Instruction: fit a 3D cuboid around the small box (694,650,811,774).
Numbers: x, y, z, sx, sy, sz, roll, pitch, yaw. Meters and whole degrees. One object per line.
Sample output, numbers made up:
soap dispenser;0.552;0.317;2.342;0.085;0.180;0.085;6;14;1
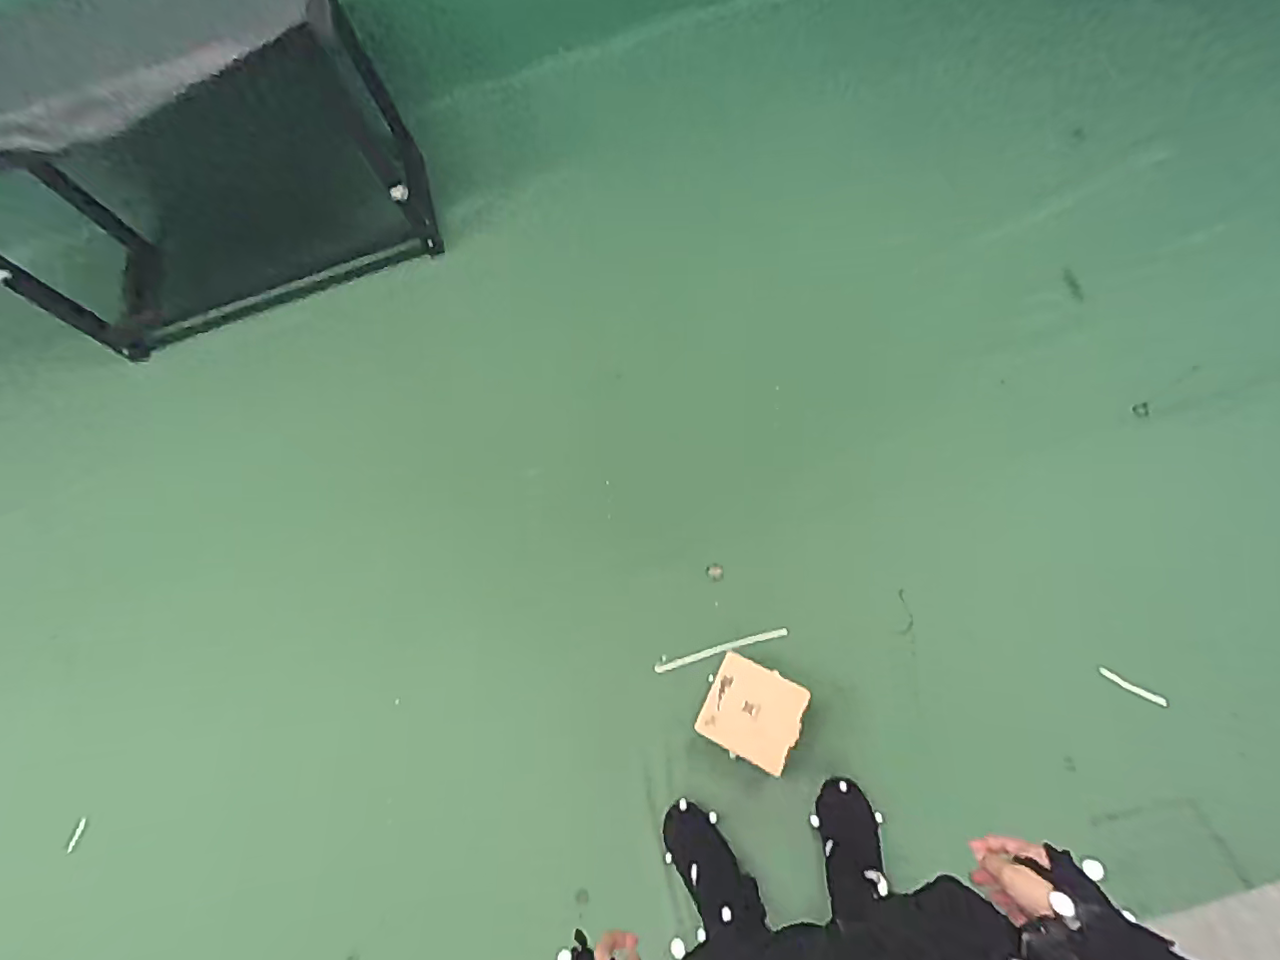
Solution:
small box;0.228;0.470;1.109;0.179;0.176;0.168;24;72;18
